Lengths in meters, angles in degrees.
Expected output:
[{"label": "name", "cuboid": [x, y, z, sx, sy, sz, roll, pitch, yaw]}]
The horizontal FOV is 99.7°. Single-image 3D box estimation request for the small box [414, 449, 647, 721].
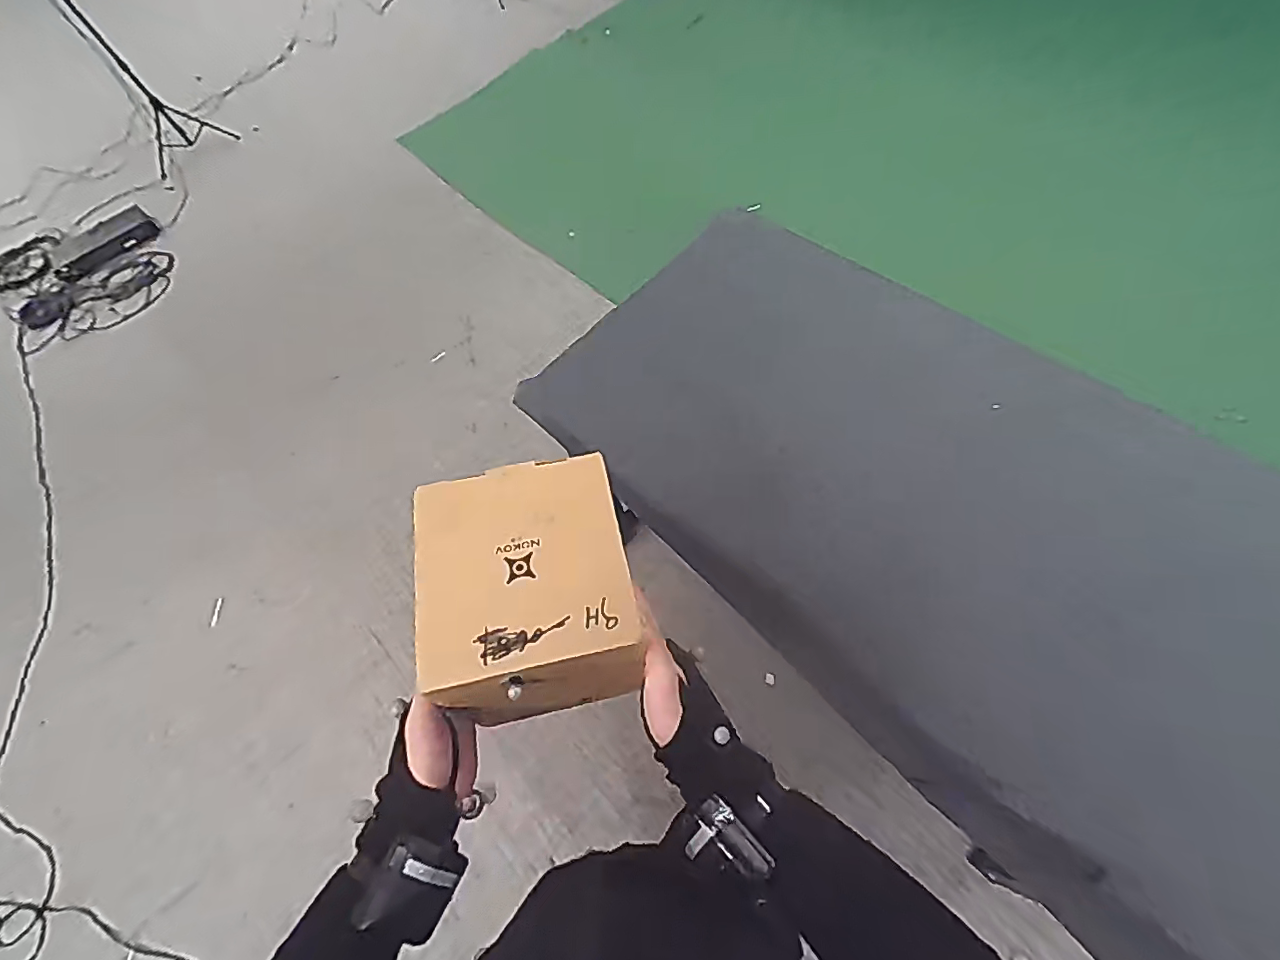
[{"label": "small box", "cuboid": [-0.092, 0.101, 0.496, 0.168, 0.176, 0.179, -12, 58, -4]}]
